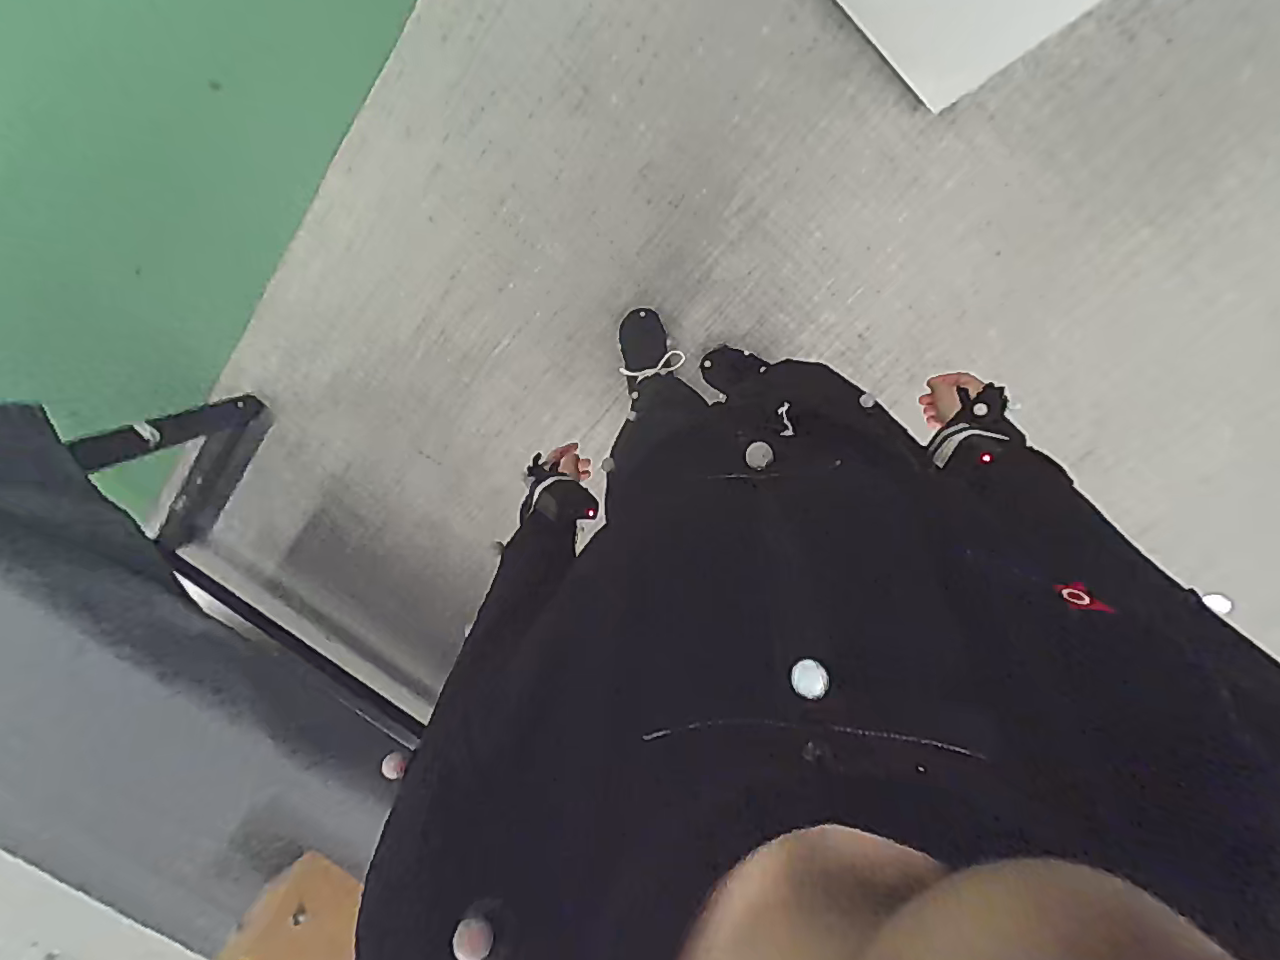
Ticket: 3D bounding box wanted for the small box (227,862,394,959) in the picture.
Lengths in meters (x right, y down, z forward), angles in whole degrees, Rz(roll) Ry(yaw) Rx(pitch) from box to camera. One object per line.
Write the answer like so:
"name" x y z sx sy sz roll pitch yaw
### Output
"small box" -0.550 0.769 0.884 0.179 0.176 0.168 43 110 -11
